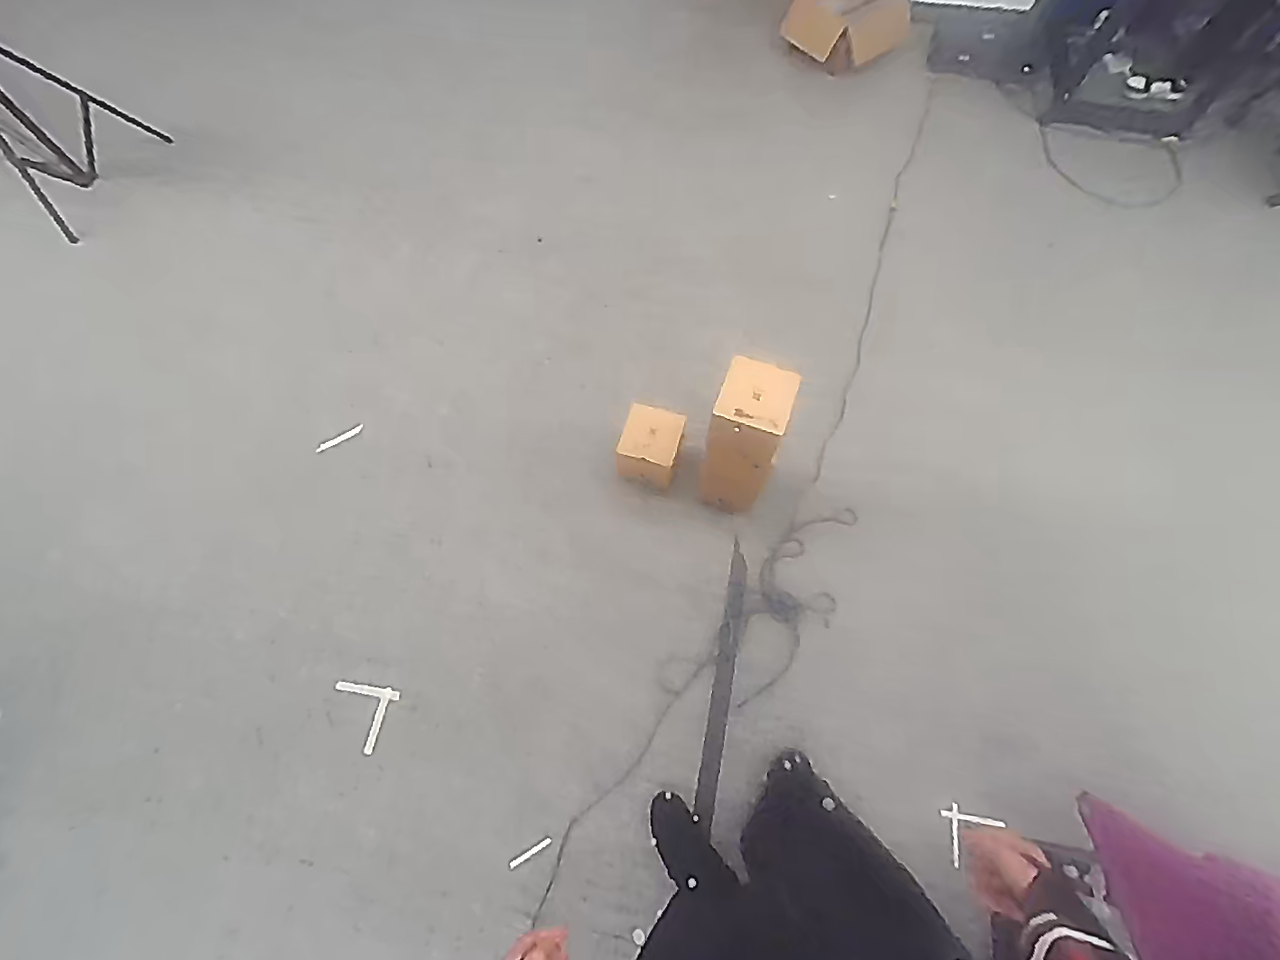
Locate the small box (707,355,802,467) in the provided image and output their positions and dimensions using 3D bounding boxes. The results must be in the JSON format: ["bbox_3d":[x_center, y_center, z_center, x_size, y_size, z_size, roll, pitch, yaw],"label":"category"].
[{"bbox_3d":[0.267,-0.162,1.298,0.168,0.176,0.179,19,67,9],"label":"small box"}]

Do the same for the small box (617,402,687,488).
[{"bbox_3d":[0.036,-0.101,1.625,0.168,0.176,0.179,15,68,7],"label":"small box"}]

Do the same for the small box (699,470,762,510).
[{"bbox_3d":[0.271,-0.032,1.597,0.168,0.176,0.179,11,67,6],"label":"small box"}]

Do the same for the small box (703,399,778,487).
[{"bbox_3d":[0.271,-0.097,1.449,0.179,0.176,0.168,13,67,6],"label":"small box"}]
